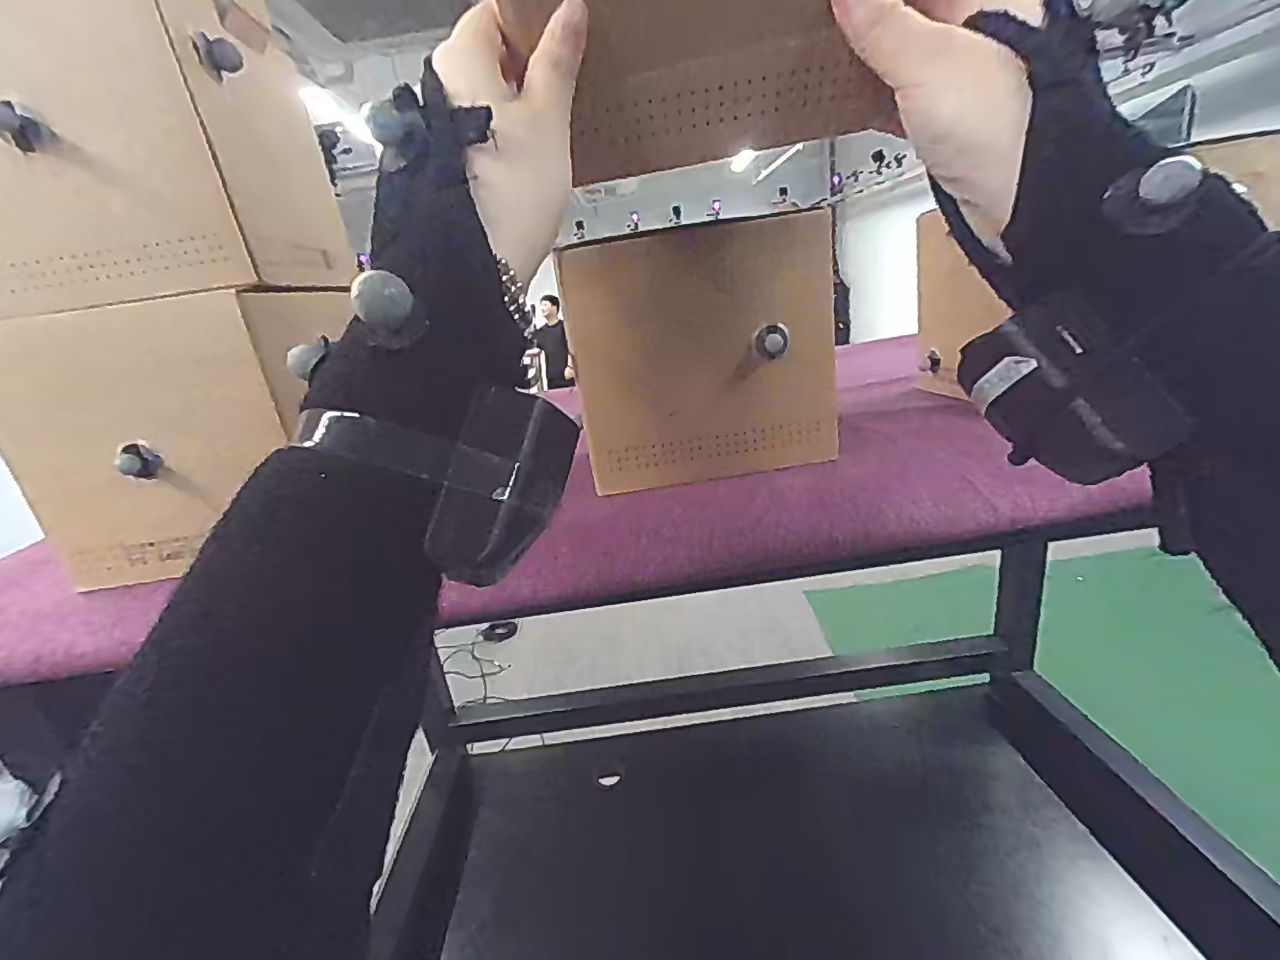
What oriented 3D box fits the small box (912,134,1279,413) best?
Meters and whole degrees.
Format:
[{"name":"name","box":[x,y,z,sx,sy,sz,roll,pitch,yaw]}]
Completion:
[{"name":"small box","box":[0.356,-0.157,0.457,0.179,0.176,0.168,-8,16,2]}]

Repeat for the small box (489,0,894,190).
[{"name":"small box","box":[0.015,-0.263,0.258,0.179,0.176,0.168,-10,51,1]}]

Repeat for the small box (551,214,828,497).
[{"name":"small box","box":[0.038,-0.099,0.435,0.179,0.176,0.168,-10,18,0]}]

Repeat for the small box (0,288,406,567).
[{"name":"small box","box":[-0.299,-0.044,0.407,0.168,0.176,0.179,-8,18,-2]}]
